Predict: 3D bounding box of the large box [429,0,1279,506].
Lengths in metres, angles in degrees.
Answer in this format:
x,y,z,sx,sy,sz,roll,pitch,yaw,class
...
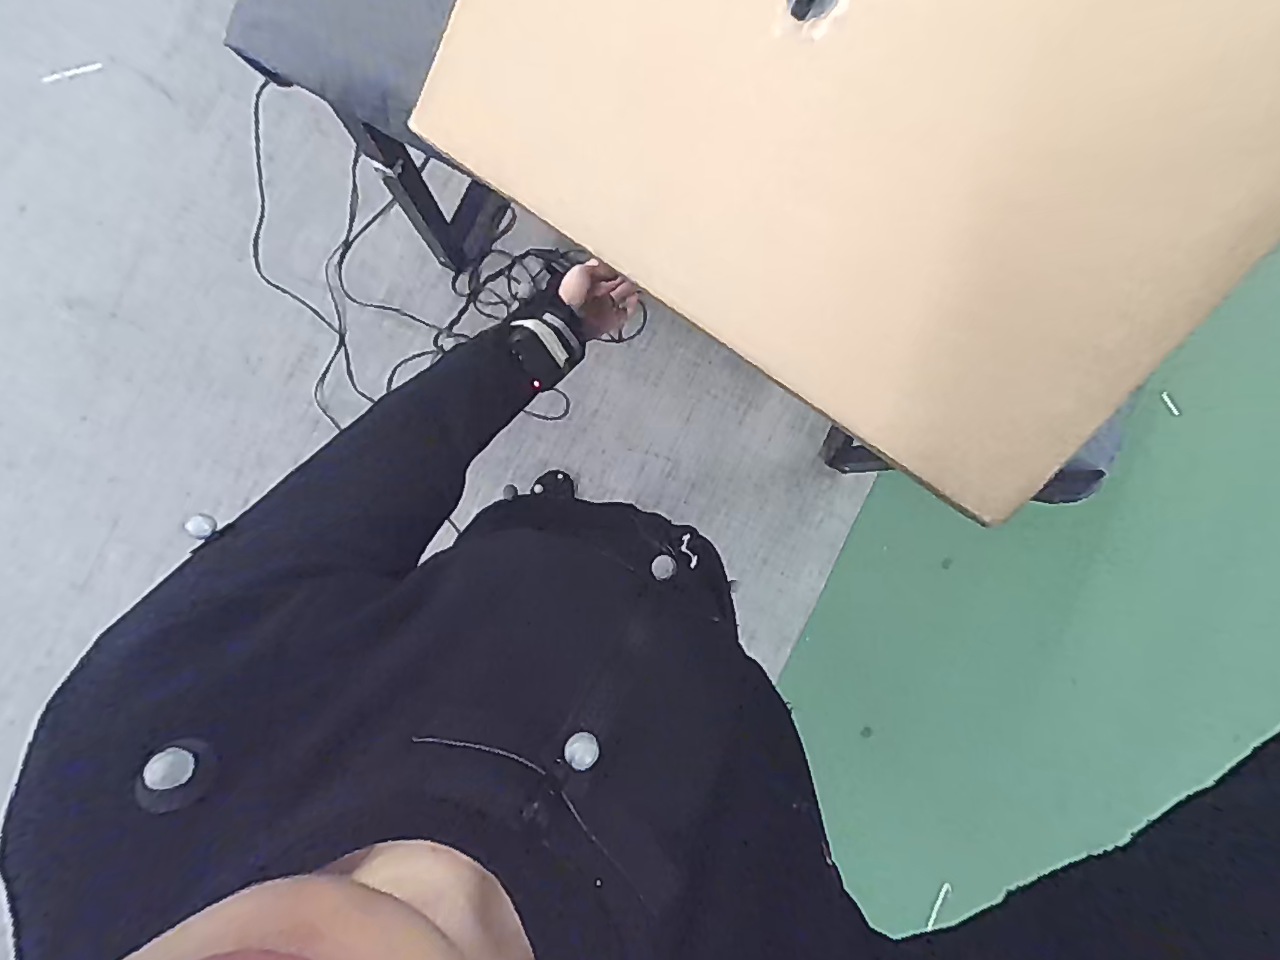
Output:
x,y,z,sx,sy,sz,roll,pitch,yaw,class
0.145,-0.236,0.379,0.408,0.320,0.320,37,109,16,large box
